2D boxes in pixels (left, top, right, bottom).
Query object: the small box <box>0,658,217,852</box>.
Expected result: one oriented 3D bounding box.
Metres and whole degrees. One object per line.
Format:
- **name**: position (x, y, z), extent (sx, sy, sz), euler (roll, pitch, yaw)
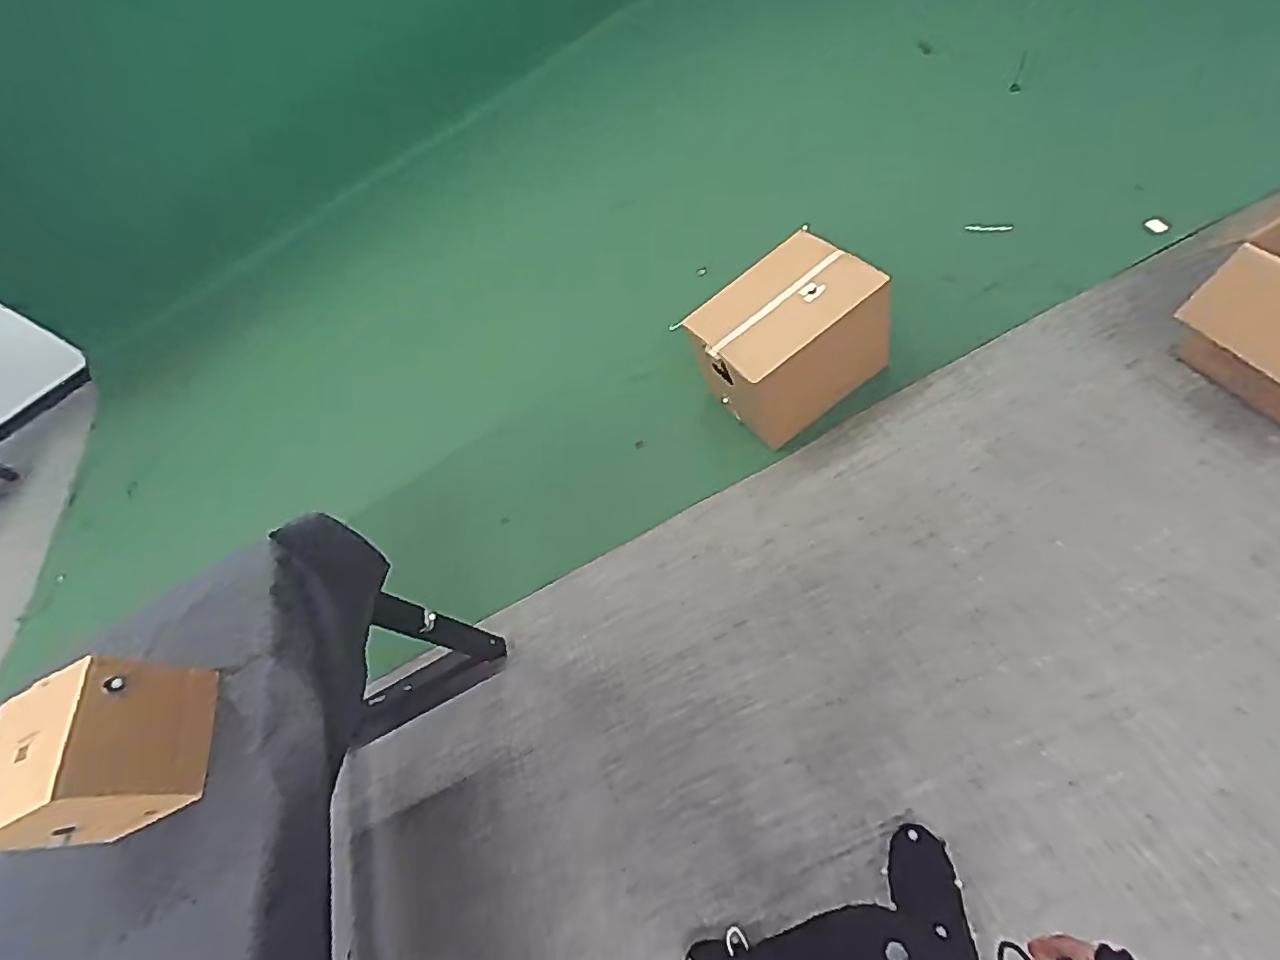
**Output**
- **small box**: position (-0.708, 0.362, 0.714), extent (0.168, 0.176, 0.179), euler (-28, 54, 8)
